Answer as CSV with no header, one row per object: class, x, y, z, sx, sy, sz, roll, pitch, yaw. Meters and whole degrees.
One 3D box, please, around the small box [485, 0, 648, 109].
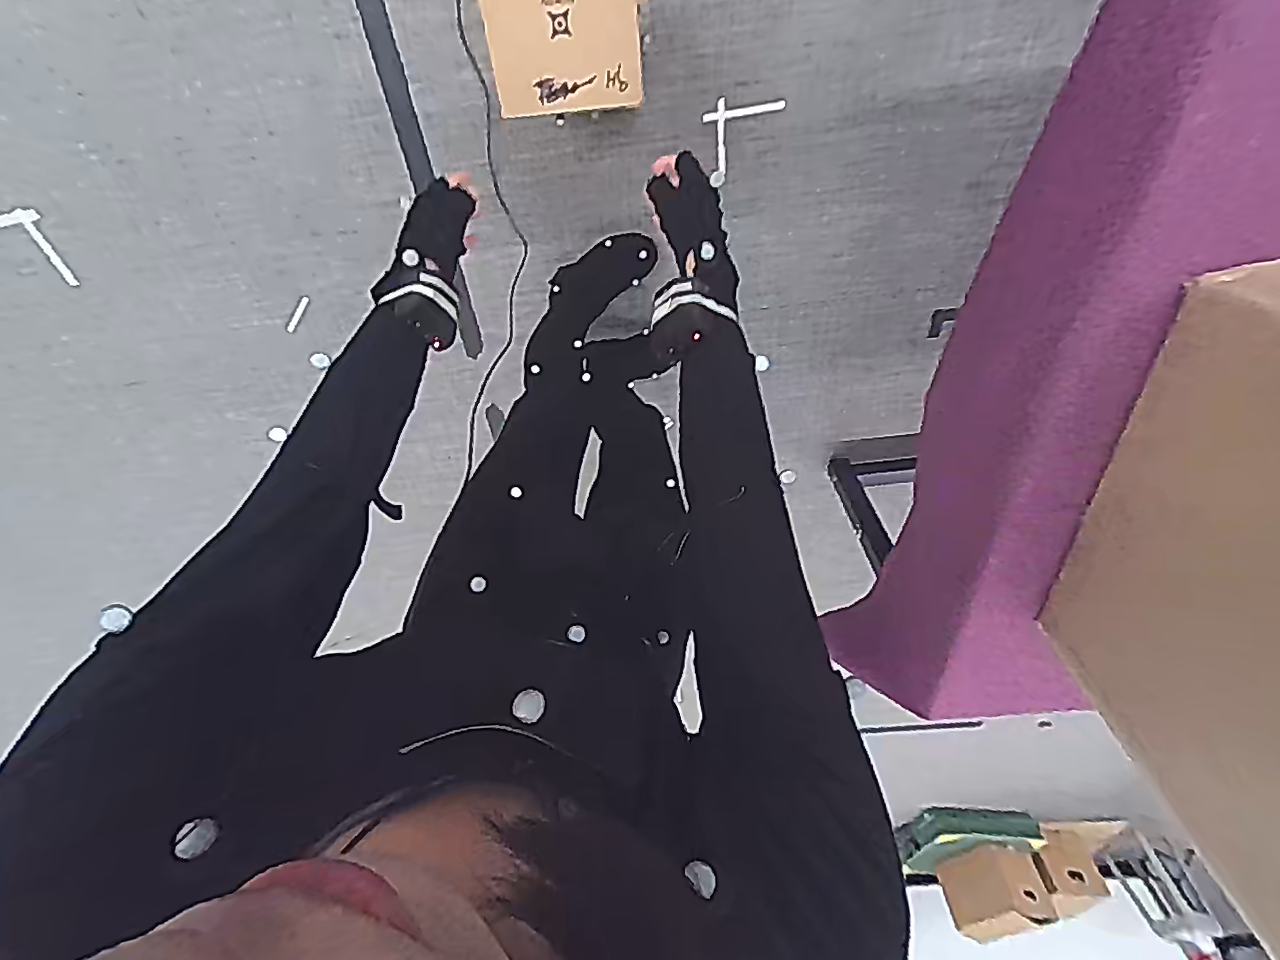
small box,-0.080,-0.541,0.621,0.168,0.176,0.179,-4,128,2
